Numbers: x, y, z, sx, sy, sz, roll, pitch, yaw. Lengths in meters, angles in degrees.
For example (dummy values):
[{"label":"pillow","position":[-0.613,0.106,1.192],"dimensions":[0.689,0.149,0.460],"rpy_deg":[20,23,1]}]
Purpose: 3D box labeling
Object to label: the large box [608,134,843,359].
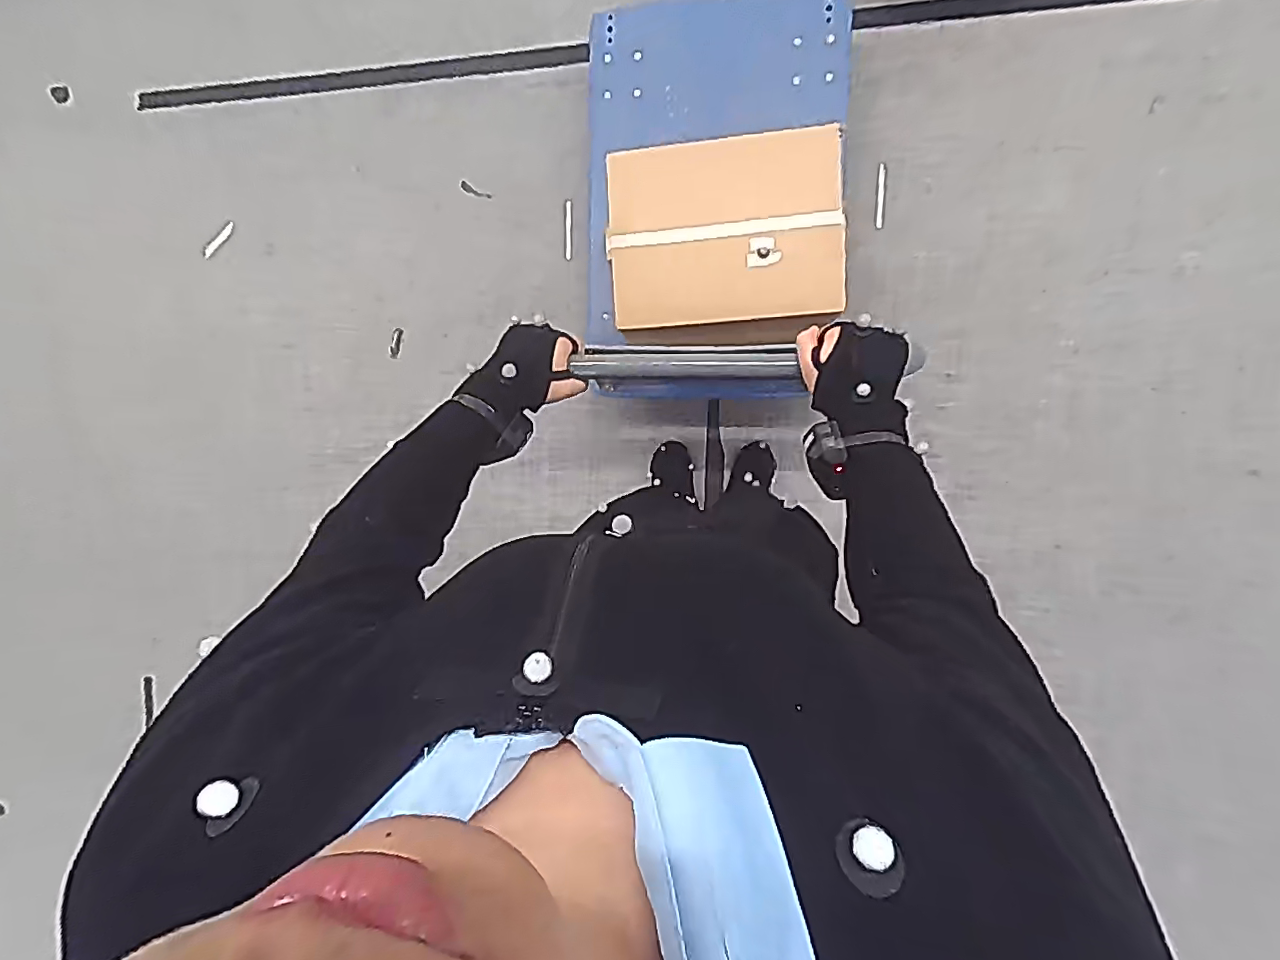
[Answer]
[{"label":"large box","position":[0.164,-0.441,1.106],"dimensions":[0.408,0.320,0.320],"rpy_deg":[-3,95,7]}]
